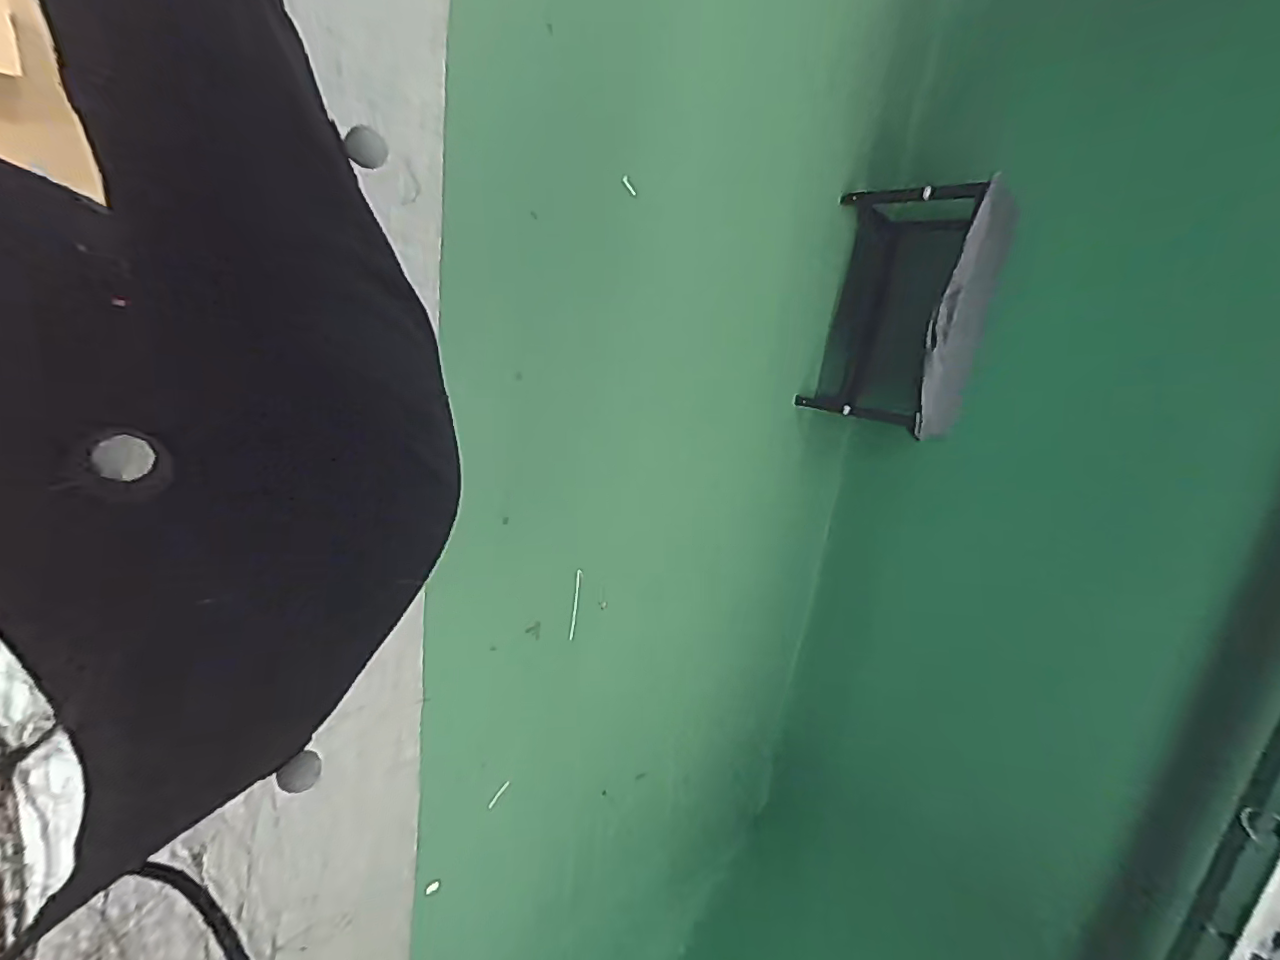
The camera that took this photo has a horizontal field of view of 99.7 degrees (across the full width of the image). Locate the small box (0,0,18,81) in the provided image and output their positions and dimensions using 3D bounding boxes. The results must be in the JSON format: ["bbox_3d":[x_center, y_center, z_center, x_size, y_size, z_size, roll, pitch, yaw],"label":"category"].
[{"bbox_3d":[-0.909,-0.629,0.667,0.168,0.176,0.179,-14,115,-46],"label":"small box"}]
